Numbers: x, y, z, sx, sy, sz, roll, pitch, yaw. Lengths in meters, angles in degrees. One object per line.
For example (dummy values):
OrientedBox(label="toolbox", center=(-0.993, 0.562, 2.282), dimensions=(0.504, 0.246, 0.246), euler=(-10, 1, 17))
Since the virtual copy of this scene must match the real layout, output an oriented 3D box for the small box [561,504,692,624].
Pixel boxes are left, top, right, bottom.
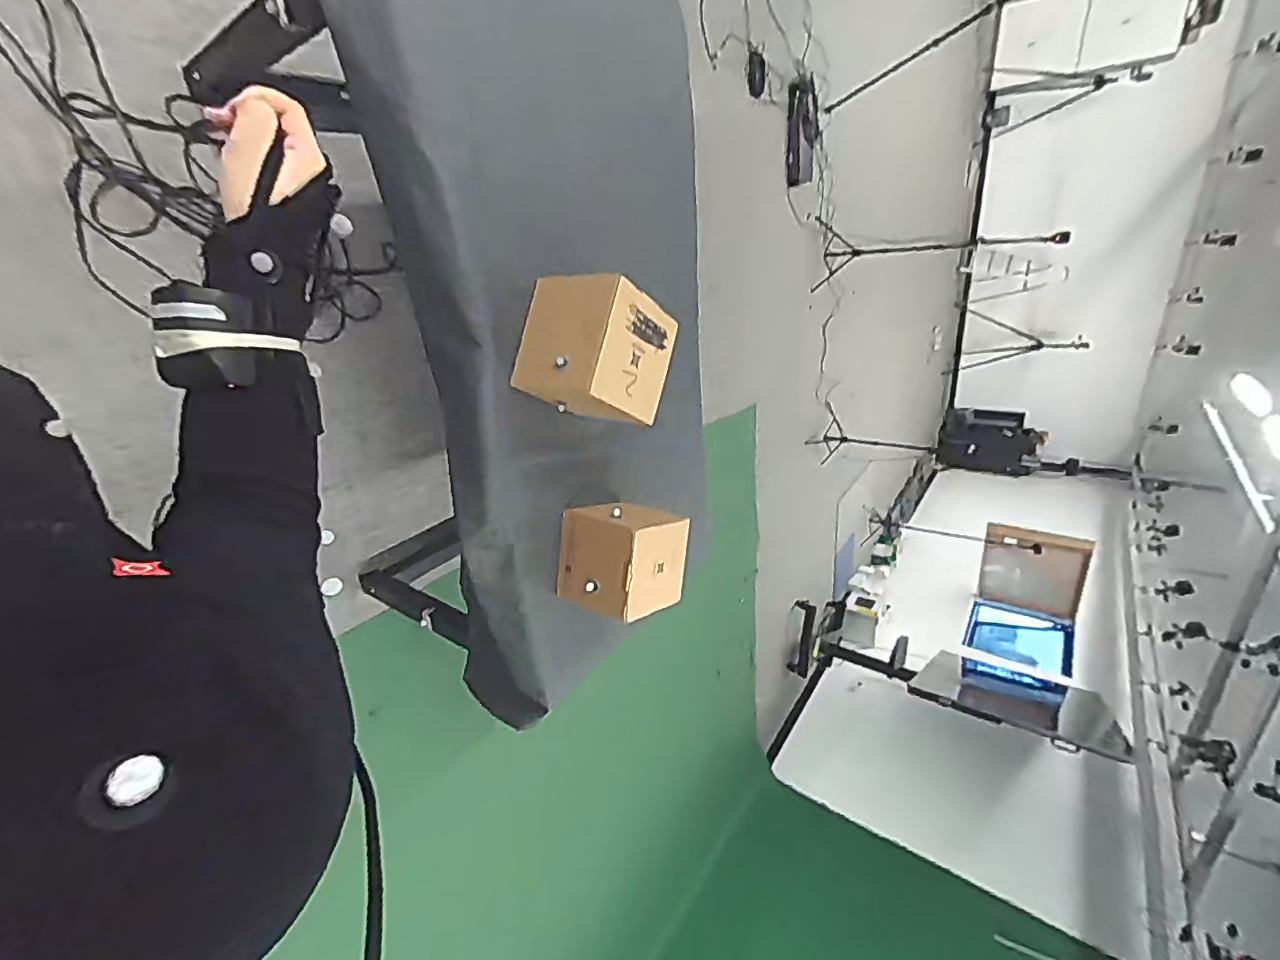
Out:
OrientedBox(label="small box", center=(-0.027, 0.144, 1.001), dimensions=(0.179, 0.176, 0.168), euler=(-6, 105, -54))
